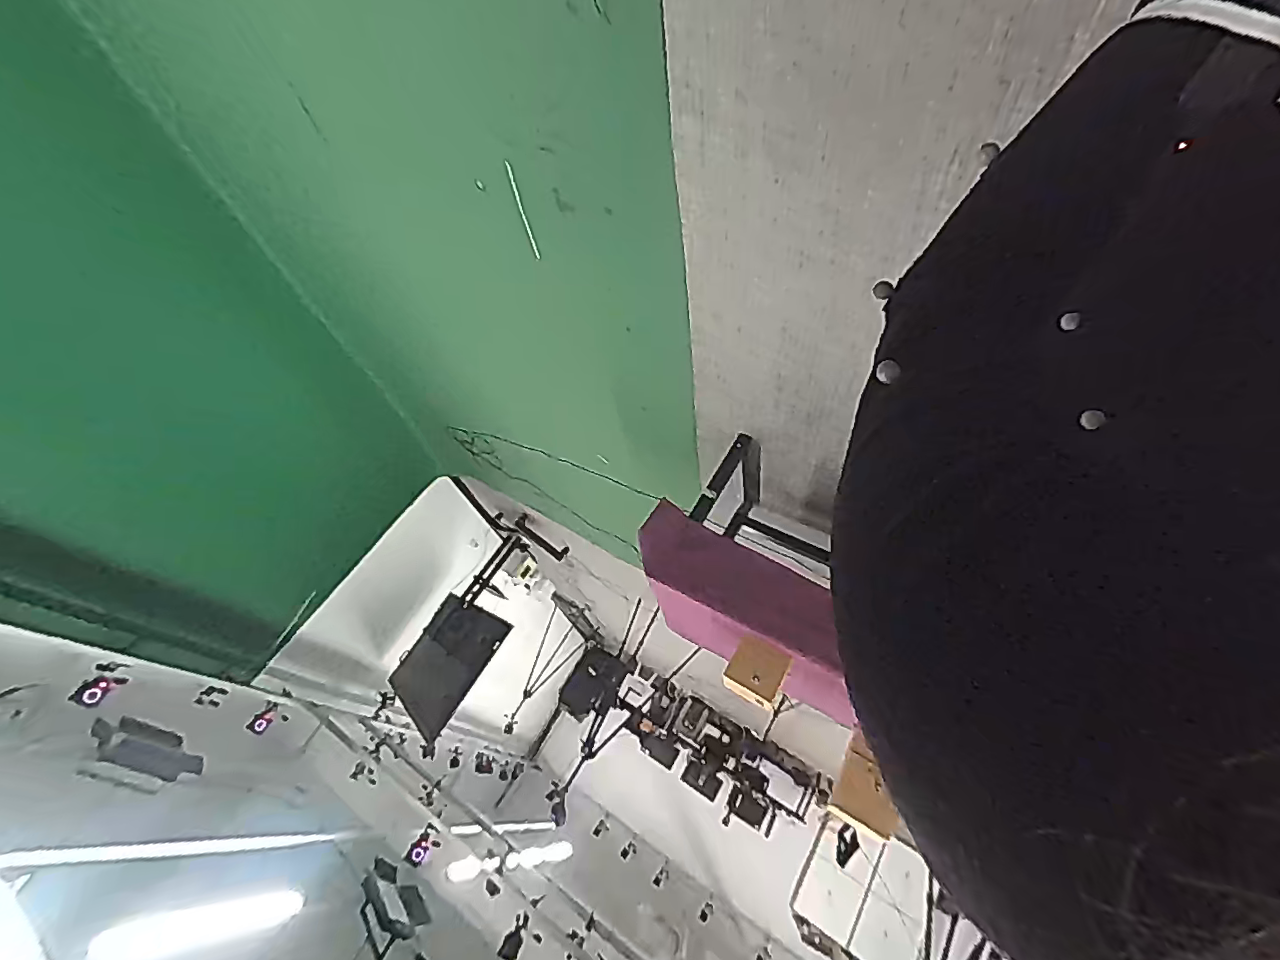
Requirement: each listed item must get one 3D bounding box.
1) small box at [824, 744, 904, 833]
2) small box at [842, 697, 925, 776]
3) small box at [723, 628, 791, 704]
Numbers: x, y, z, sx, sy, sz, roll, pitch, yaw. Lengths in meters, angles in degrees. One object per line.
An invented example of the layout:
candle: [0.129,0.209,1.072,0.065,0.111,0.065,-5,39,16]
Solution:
small box: [0.669,0.923,1.620,0.168,0.176,0.179,24,155,26]
small box: [0.753,0.795,1.678,0.179,0.176,0.168,24,156,25]
small box: [0.399,0.632,1.845,0.179,0.176,0.168,25,156,23]
